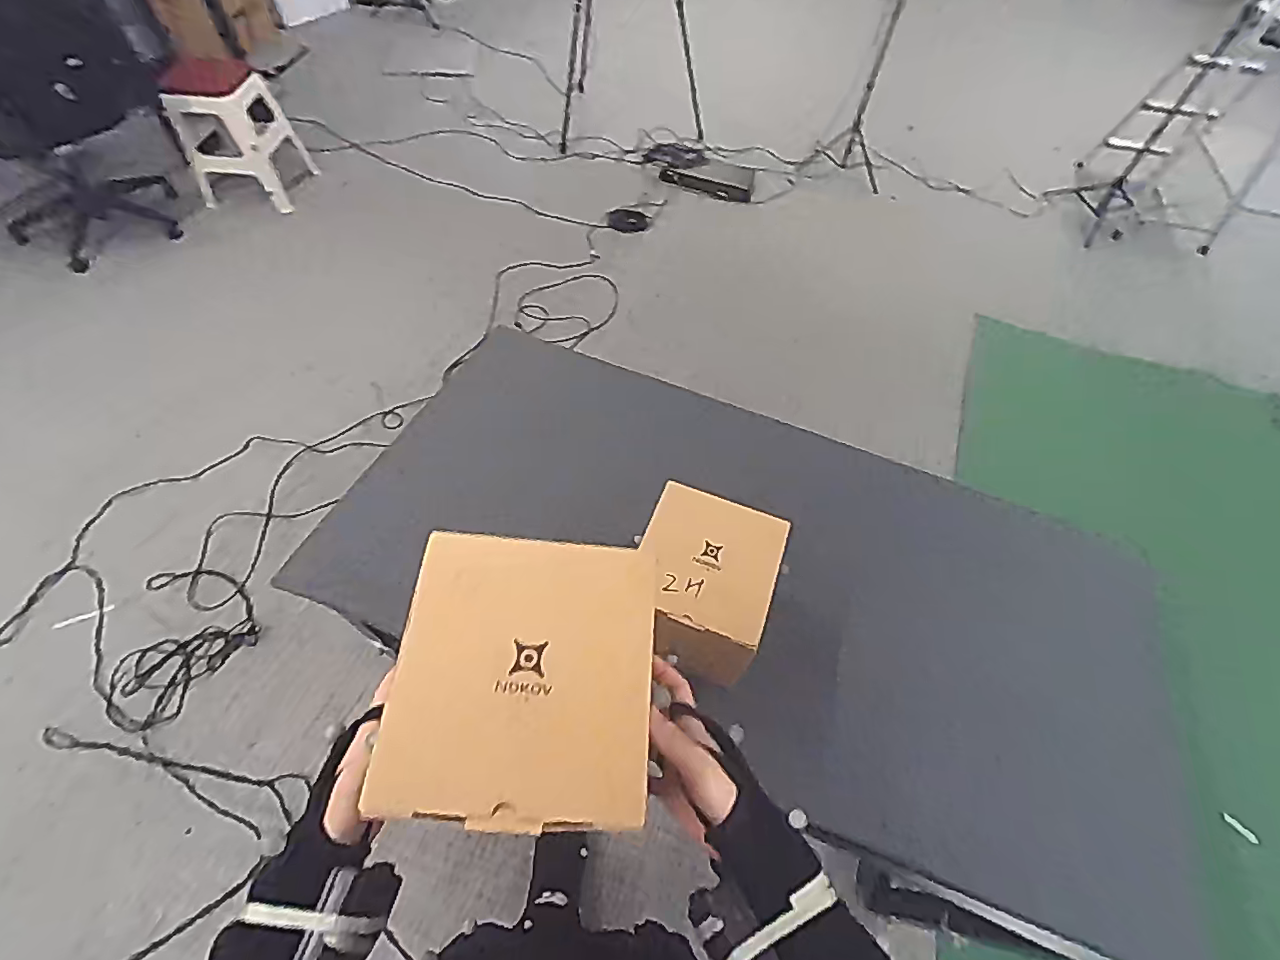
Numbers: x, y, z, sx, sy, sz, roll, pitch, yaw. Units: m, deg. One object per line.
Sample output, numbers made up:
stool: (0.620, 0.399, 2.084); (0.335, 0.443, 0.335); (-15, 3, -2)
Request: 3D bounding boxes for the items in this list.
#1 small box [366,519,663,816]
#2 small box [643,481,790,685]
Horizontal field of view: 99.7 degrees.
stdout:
small box: (-0.079, 0.150, 0.420); (0.168, 0.176, 0.179); (6, 60, -4)
small box: (0.078, 0.137, 0.706); (0.168, 0.176, 0.179); (19, 56, 10)
